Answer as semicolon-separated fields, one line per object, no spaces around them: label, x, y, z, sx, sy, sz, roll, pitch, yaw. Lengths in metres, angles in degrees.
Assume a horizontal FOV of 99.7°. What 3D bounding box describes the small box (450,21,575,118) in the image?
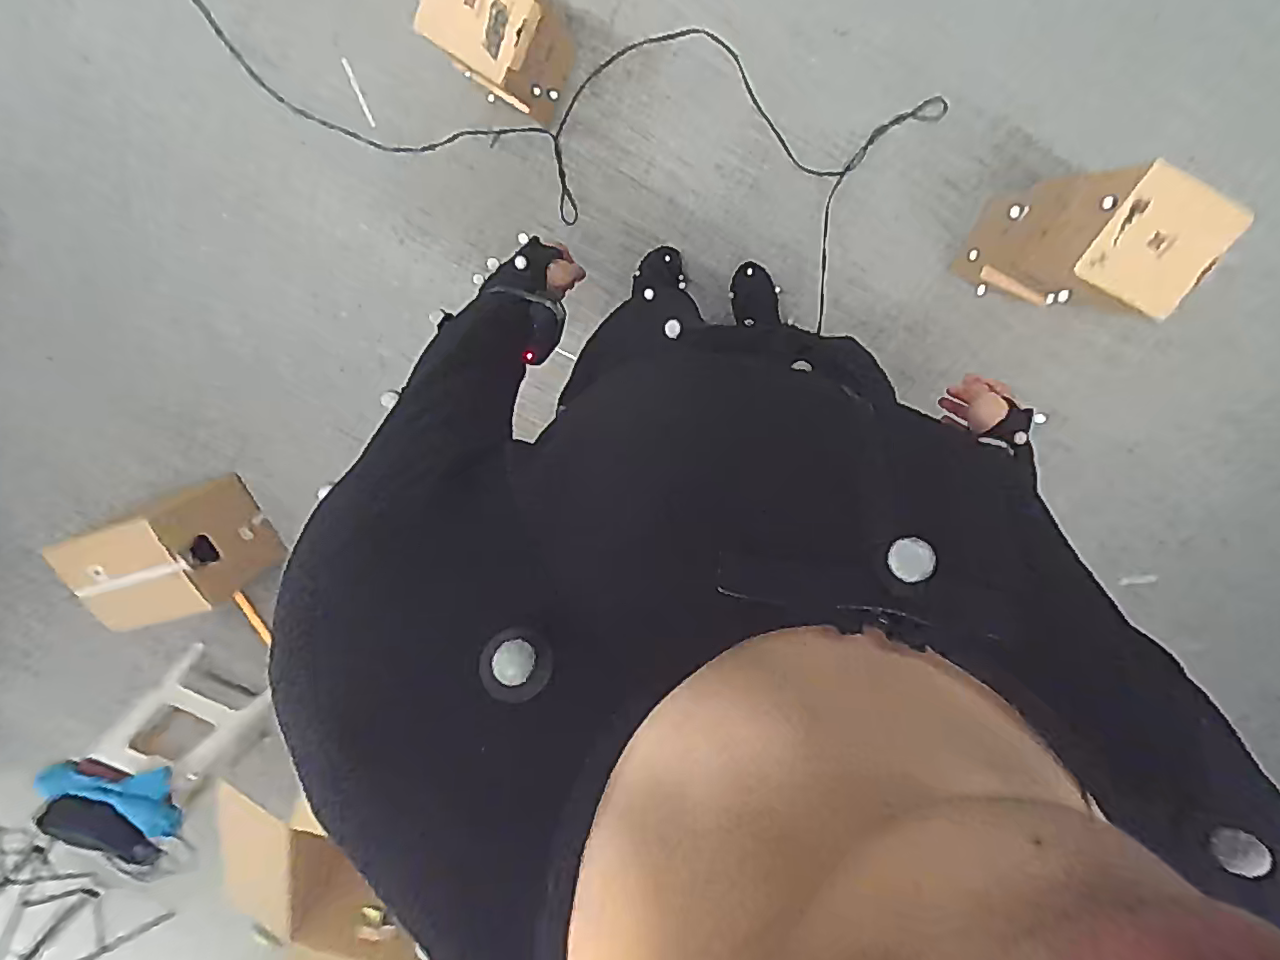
small box;-0.253;-0.881;1.115;0.179;0.176;0.168;29;114;-6

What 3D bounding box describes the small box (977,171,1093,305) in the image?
small box;0.794;-0.454;1.023;0.179;0.176;0.168;26;114;-5

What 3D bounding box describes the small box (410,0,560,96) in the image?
small box;-0.265;-0.823;0.961;0.179;0.176;0.168;30;113;-6

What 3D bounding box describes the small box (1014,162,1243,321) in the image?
small box;0.770;-0.383;0.876;0.179;0.176;0.168;26;114;-6
